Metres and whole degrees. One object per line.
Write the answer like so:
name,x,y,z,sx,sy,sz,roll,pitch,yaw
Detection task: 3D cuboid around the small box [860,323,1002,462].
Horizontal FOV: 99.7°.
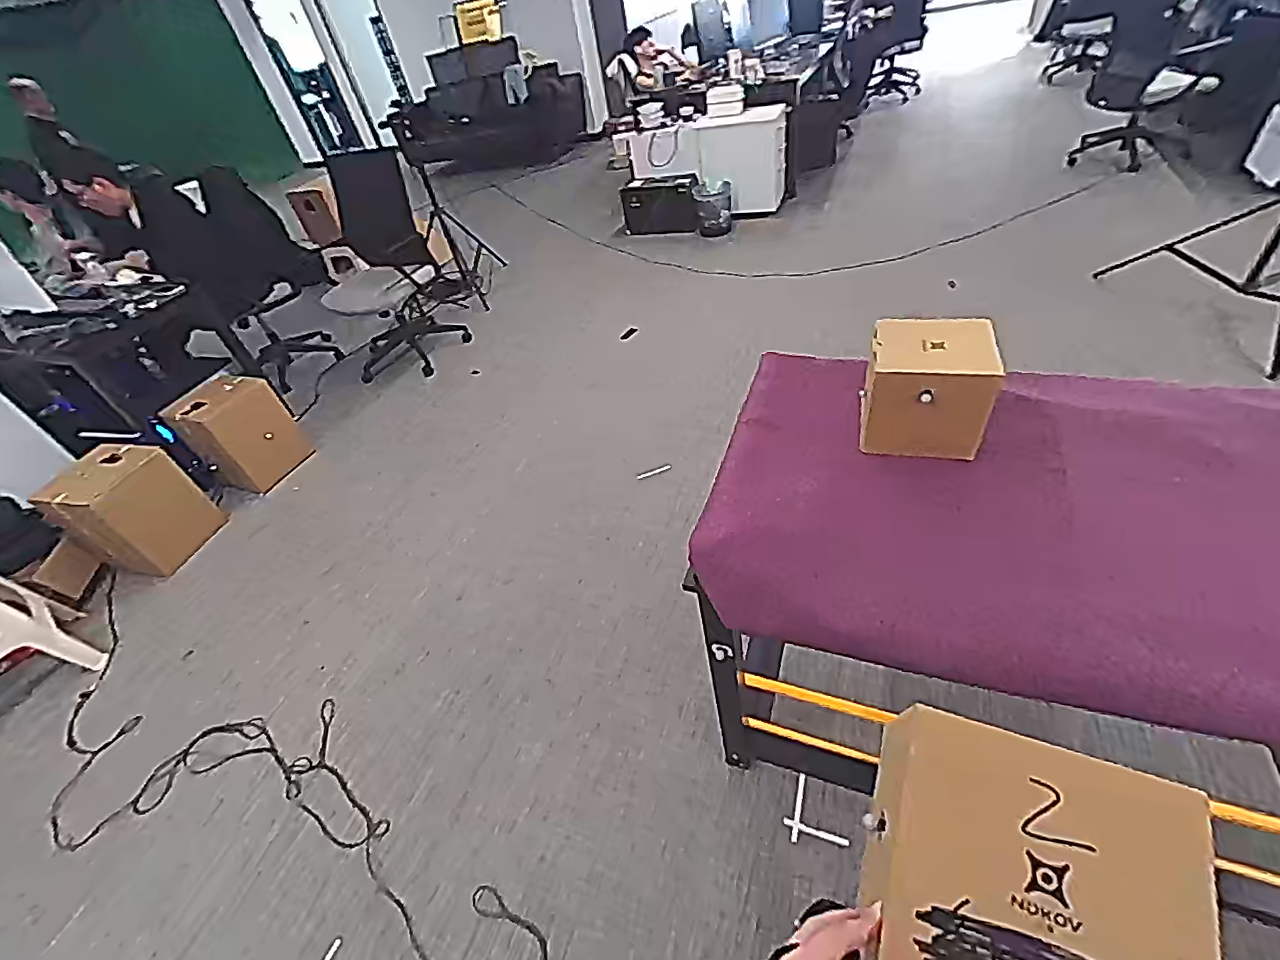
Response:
small box,0.478,-0.147,0.912,0.179,0.176,0.168,6,45,19
